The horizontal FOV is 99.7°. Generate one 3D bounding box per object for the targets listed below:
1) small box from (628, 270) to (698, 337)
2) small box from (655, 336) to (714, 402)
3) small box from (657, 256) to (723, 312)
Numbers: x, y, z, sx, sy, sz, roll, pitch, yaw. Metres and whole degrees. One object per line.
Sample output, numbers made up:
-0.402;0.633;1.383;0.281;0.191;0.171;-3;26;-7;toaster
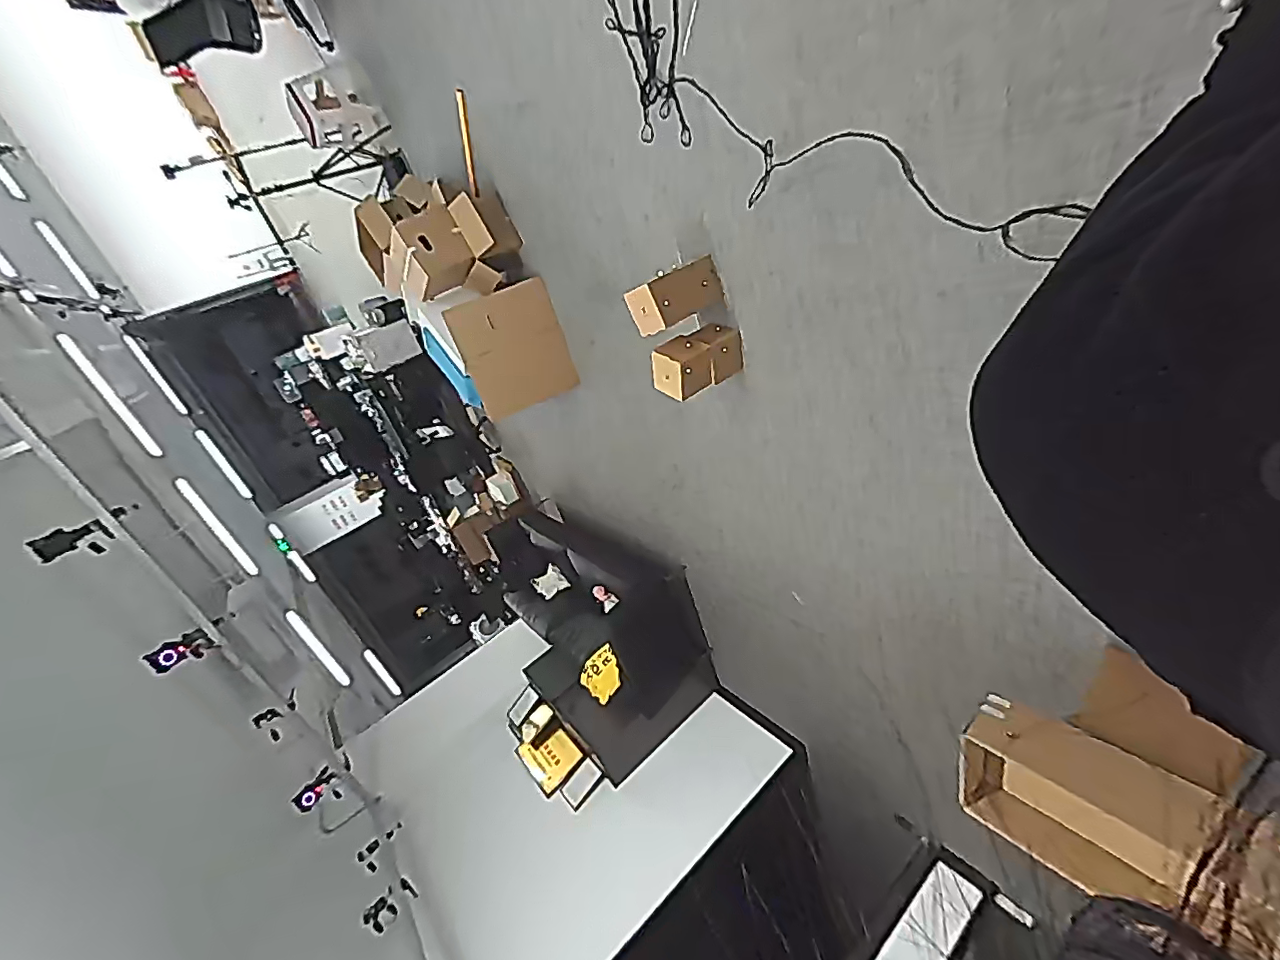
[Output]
0.091;-0.664;2.036;0.168;0.176;0.179;4;124;58;small box
0.181;-0.443;2.144;0.168;0.176;0.179;35;147;38;small box
0.203;-0.755;2.112;0.179;0.176;0.168;12;131;57;small box
